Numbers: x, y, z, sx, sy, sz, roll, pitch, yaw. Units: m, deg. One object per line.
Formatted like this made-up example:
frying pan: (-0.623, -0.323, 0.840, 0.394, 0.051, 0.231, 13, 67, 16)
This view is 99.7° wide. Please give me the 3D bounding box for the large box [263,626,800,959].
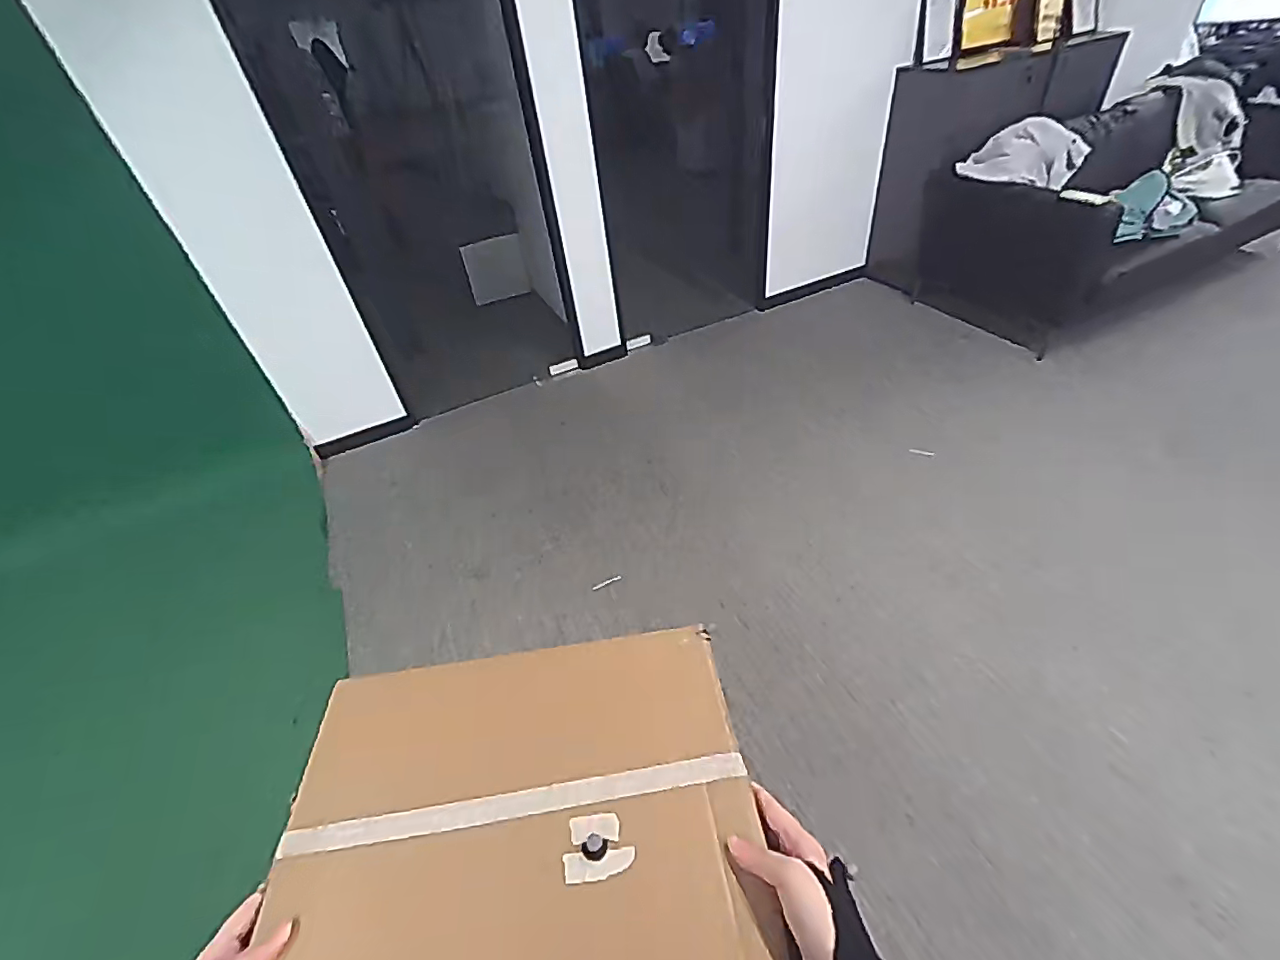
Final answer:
large box: (-0.094, 0.402, 0.580, 0.408, 0.320, 0.320, -7, 39, -5)
